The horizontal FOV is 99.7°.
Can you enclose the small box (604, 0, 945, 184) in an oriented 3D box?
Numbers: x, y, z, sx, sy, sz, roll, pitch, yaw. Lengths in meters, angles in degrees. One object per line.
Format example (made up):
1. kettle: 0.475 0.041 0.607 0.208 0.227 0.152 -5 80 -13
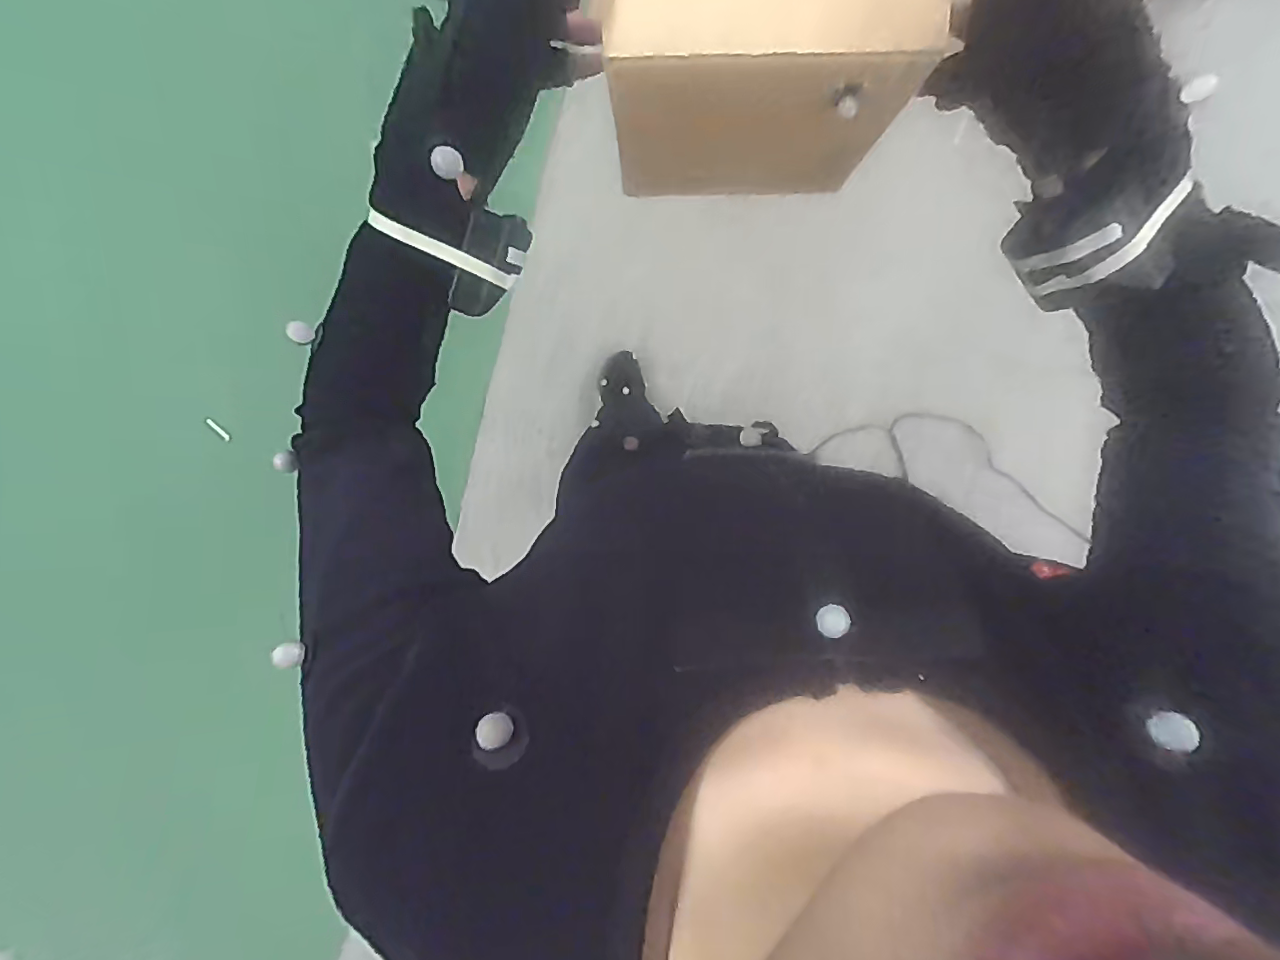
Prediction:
1. small box: 0.070 -0.312 0.351 0.179 0.176 0.168 -1 96 0
